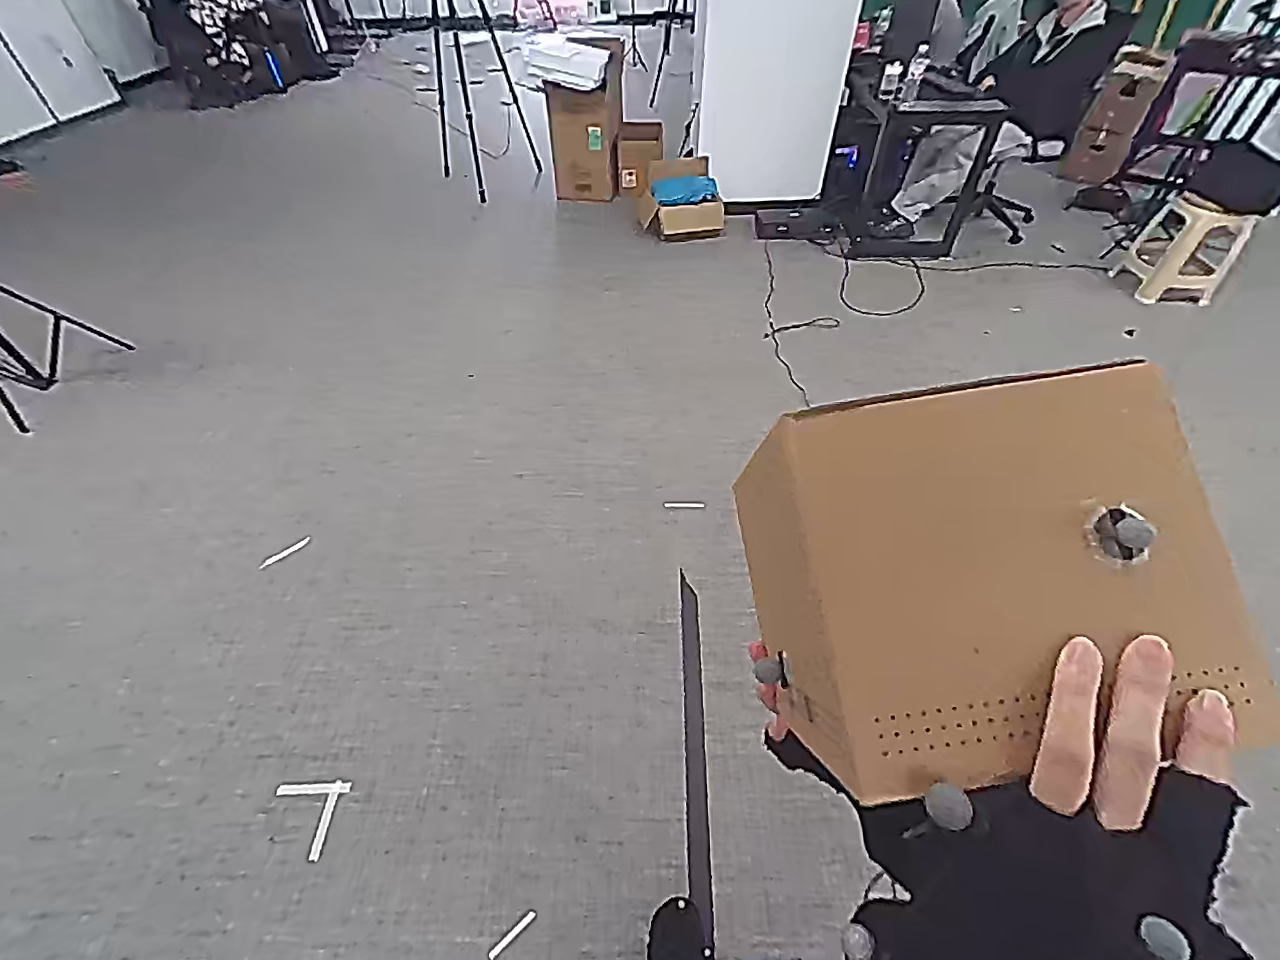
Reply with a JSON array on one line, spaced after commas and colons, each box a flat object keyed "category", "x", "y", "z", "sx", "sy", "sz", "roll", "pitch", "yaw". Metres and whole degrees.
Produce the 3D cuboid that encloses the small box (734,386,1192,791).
[{"category": "small box", "x": 0.164, "y": 0.062, "z": 0.325, "sx": 0.179, "sy": 0.168, "sz": 0.176, "roll": -9, "pitch": 77, "yaw": 1}]
